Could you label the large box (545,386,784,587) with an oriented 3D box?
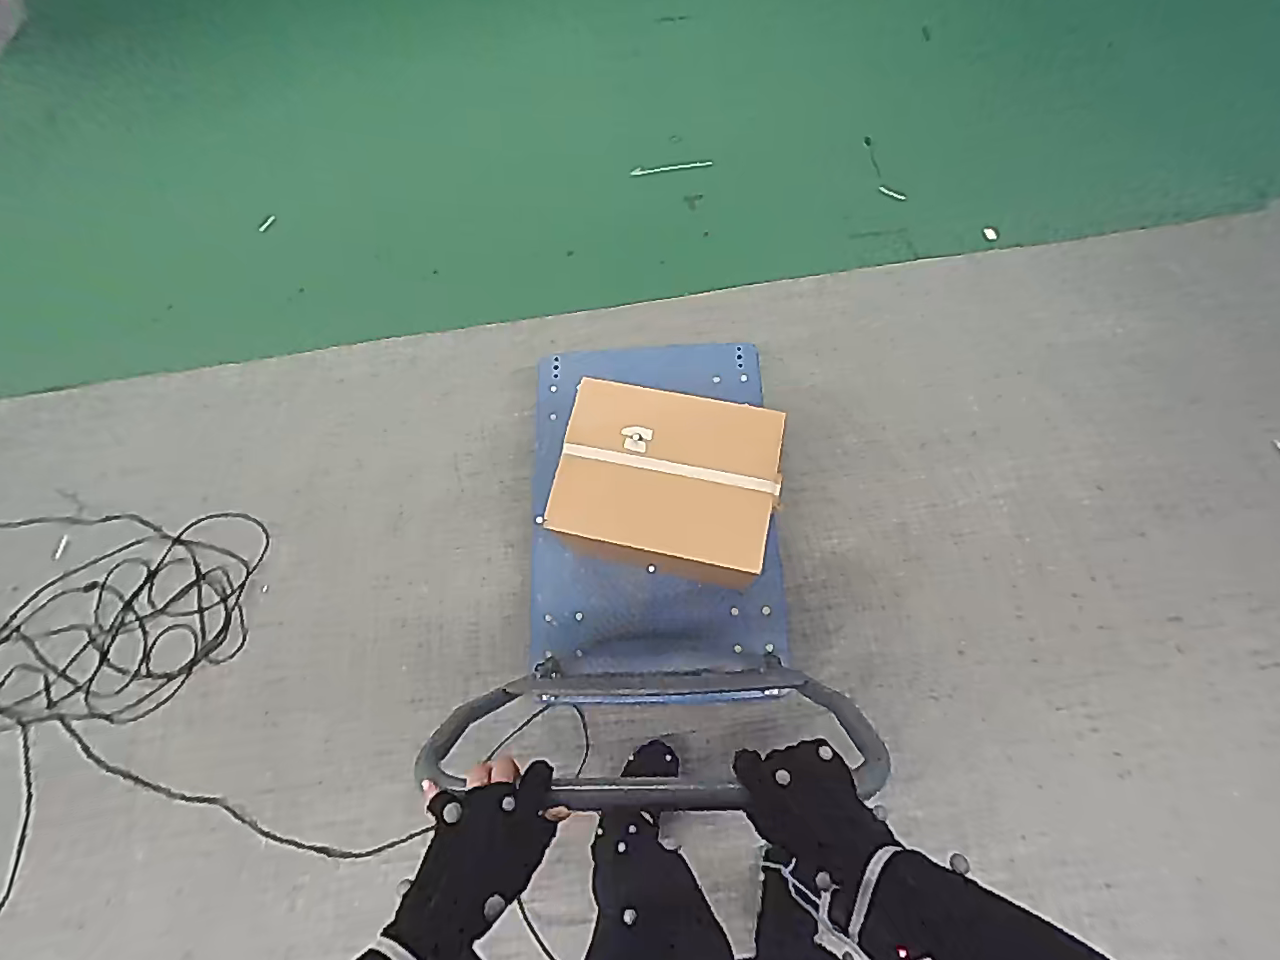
[{"bbox_3d":[0.063,0.031,1.149,0.408,0.320,0.320,11,75,8],"label":"large box"}]
